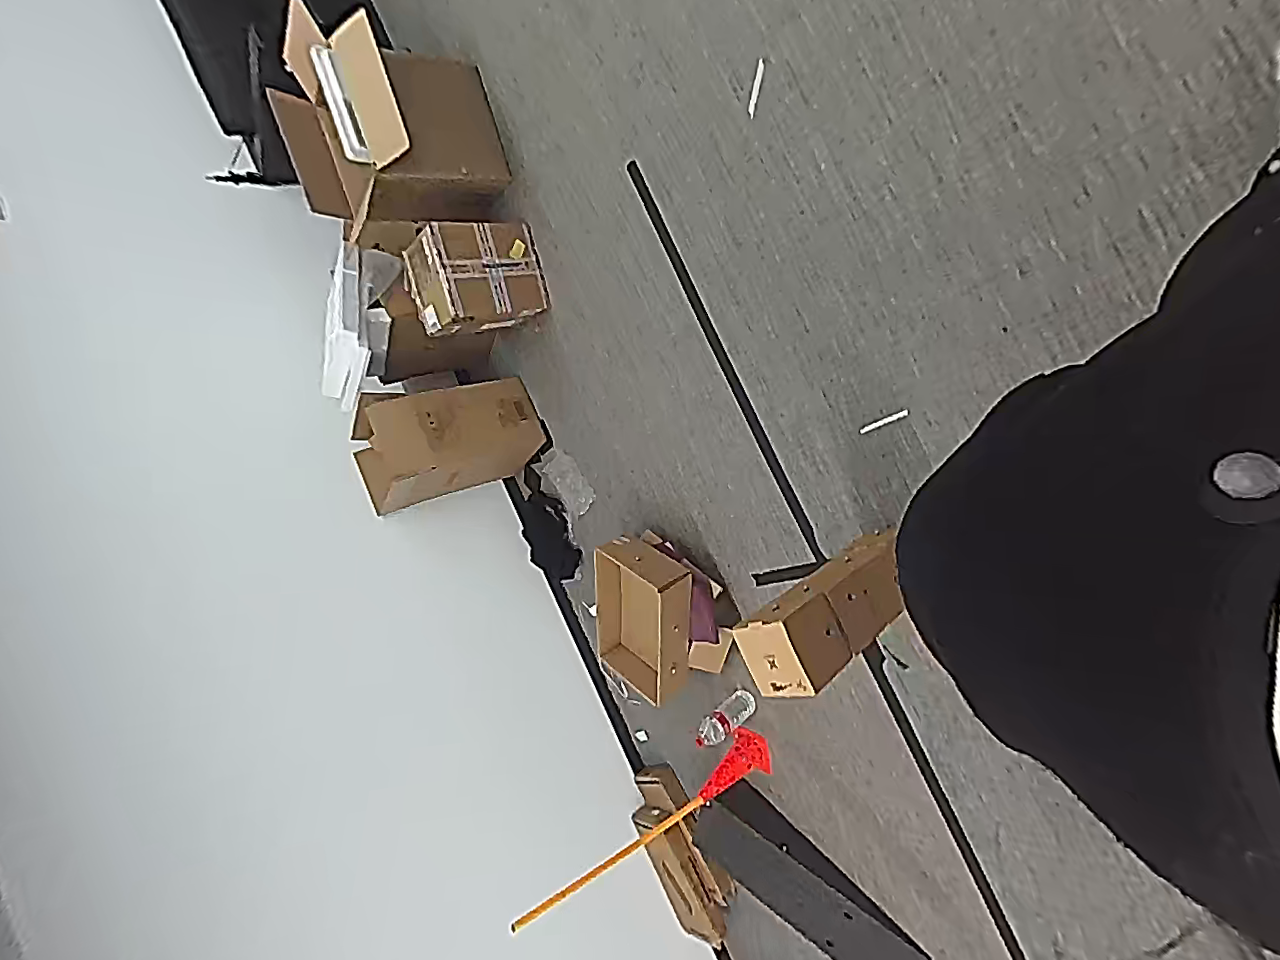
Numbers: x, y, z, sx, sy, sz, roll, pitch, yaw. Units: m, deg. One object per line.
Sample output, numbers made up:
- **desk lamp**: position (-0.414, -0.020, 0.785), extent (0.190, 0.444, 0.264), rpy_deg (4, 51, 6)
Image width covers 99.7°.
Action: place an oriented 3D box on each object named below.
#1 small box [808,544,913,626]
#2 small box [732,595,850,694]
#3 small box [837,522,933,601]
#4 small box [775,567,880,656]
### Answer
- **small box**: position (0.600, 0.289, 1.470), extent (0.179, 0.176, 0.168), rpy_deg (-28, 86, 51)
- **small box**: position (0.356, 0.382, 1.274), extent (0.168, 0.176, 0.179), rpy_deg (-30, 83, 51)
- **small box**: position (0.717, 0.244, 1.576), extent (0.168, 0.176, 0.179), rpy_deg (-28, 85, 51)
- **small box**: position (0.479, 0.335, 1.372), extent (0.179, 0.176, 0.168), rpy_deg (-30, 83, 52)
